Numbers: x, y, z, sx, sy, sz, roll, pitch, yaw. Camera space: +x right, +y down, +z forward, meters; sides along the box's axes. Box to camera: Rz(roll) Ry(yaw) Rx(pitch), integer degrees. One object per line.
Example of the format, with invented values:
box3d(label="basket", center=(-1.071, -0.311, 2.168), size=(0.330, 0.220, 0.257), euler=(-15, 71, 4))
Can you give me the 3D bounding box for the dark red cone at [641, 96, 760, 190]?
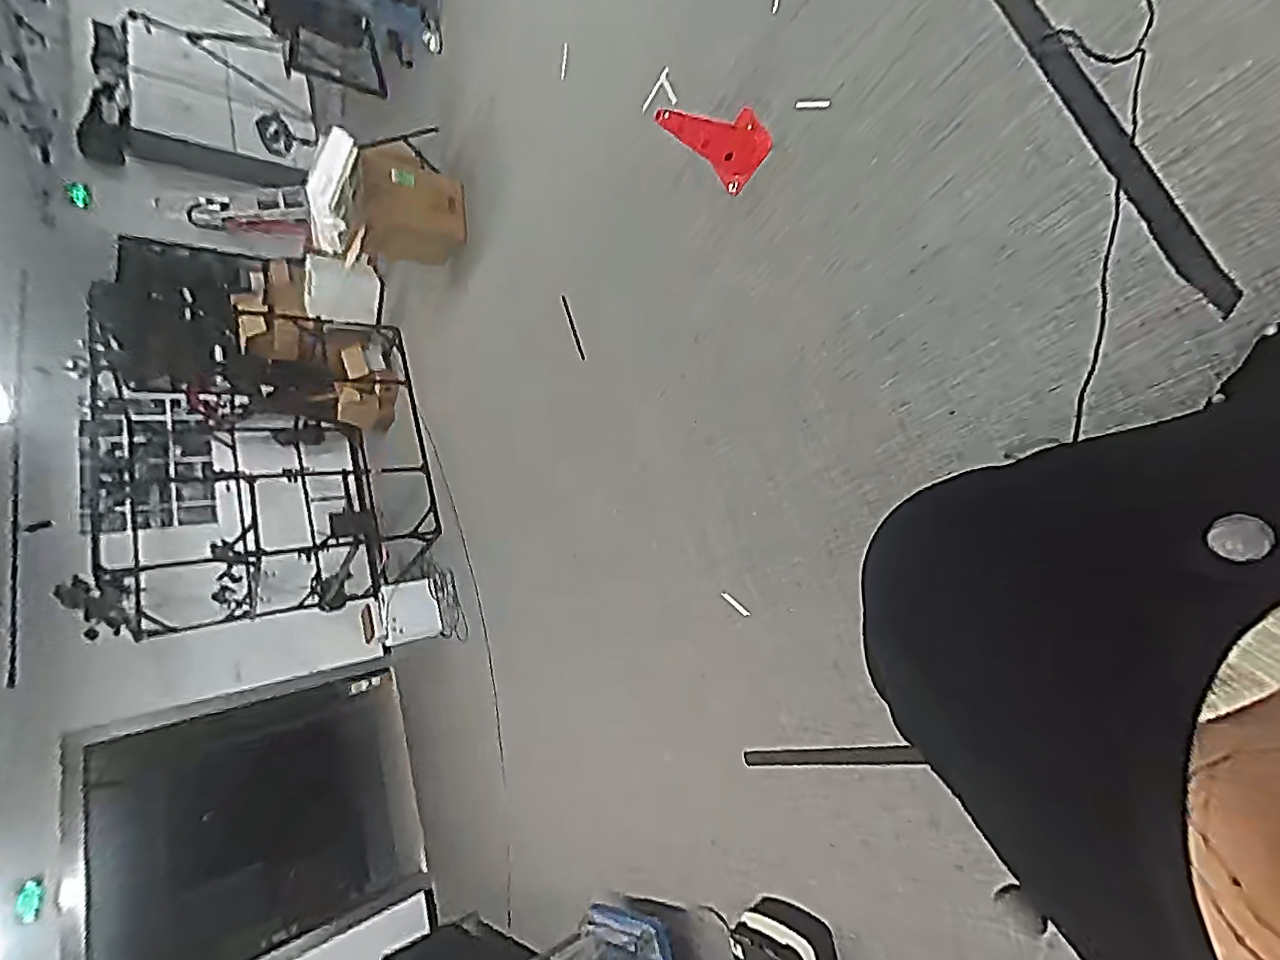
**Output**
box3d(label="dark red cone", center=(0.167, -1.071, 1.650), size=(0.201, 0.394, 0.202), euler=(-45, 60, 43))
